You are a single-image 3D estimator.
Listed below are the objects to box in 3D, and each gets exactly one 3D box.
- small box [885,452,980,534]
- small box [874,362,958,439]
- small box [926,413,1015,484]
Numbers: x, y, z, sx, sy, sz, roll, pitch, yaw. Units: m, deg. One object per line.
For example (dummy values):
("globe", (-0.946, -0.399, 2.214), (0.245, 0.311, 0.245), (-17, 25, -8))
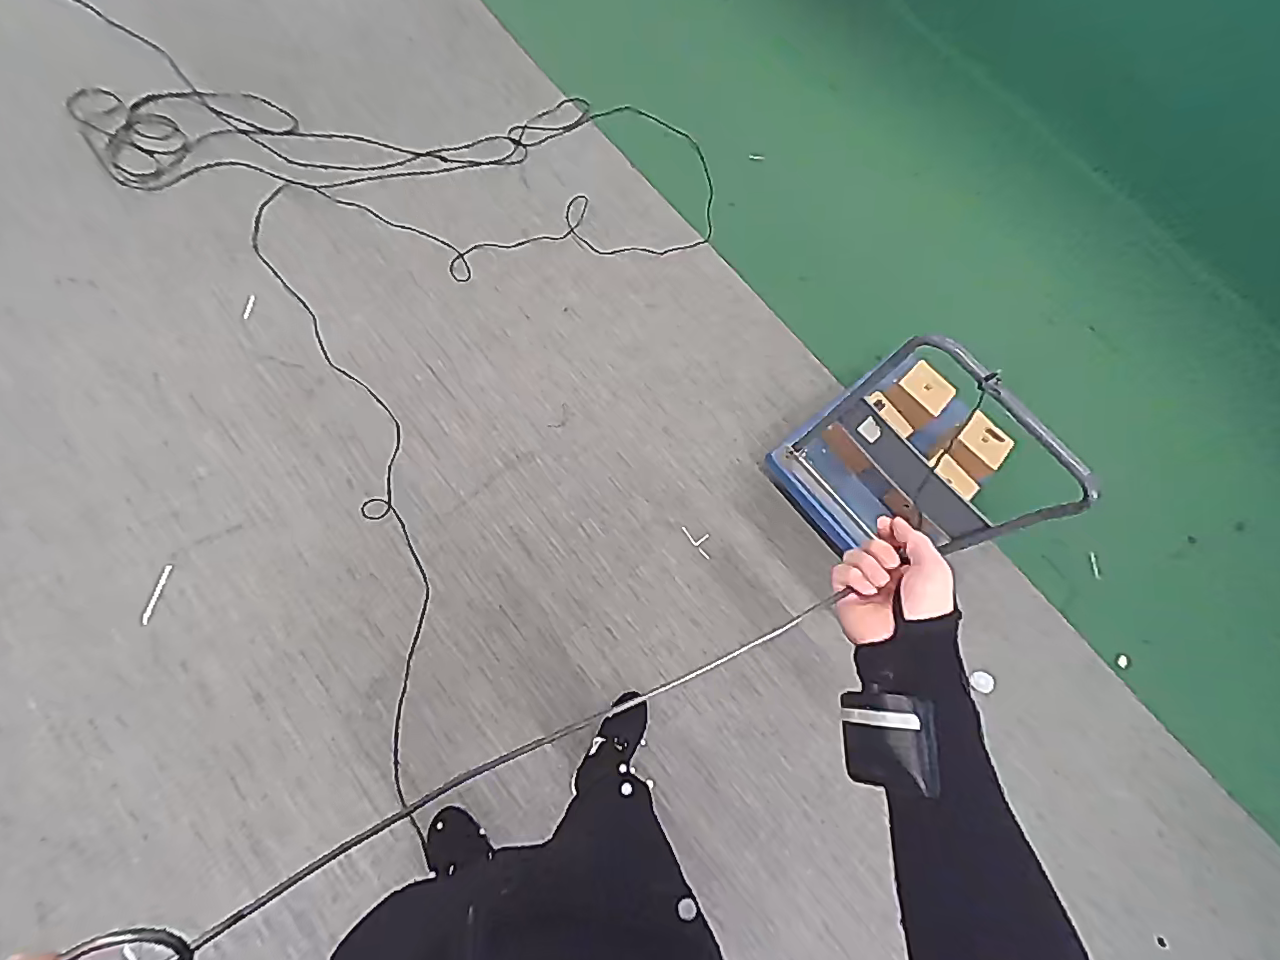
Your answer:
("small box", (0.931, 0.045, 1.734), (0.179, 0.176, 0.168), (-34, 79, -26))
("small box", (0.955, -0.273, 1.891), (0.179, 0.176, 0.168), (-39, 82, -28))
("small box", (1.128, -0.093, 1.856), (0.179, 0.176, 0.168), (-39, 80, -27))
